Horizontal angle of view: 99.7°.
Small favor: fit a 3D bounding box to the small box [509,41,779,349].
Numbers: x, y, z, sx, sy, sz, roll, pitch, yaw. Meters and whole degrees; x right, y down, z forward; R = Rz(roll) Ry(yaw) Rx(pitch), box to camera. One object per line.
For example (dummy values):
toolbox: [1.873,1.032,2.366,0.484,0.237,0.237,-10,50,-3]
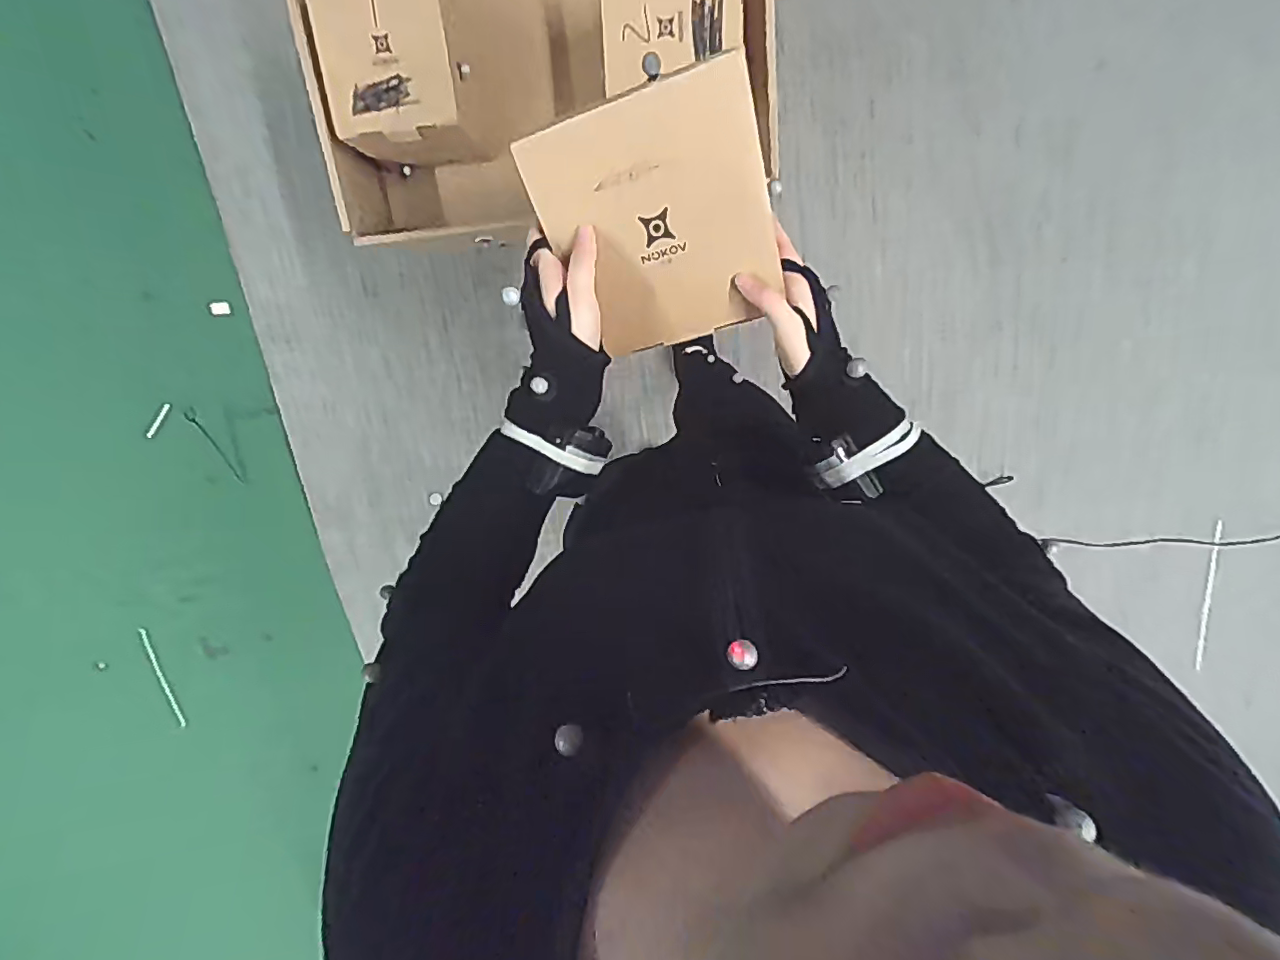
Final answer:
small box: [0.018,-0.243,0.464,0.168,0.176,0.179,-12,126,14]
